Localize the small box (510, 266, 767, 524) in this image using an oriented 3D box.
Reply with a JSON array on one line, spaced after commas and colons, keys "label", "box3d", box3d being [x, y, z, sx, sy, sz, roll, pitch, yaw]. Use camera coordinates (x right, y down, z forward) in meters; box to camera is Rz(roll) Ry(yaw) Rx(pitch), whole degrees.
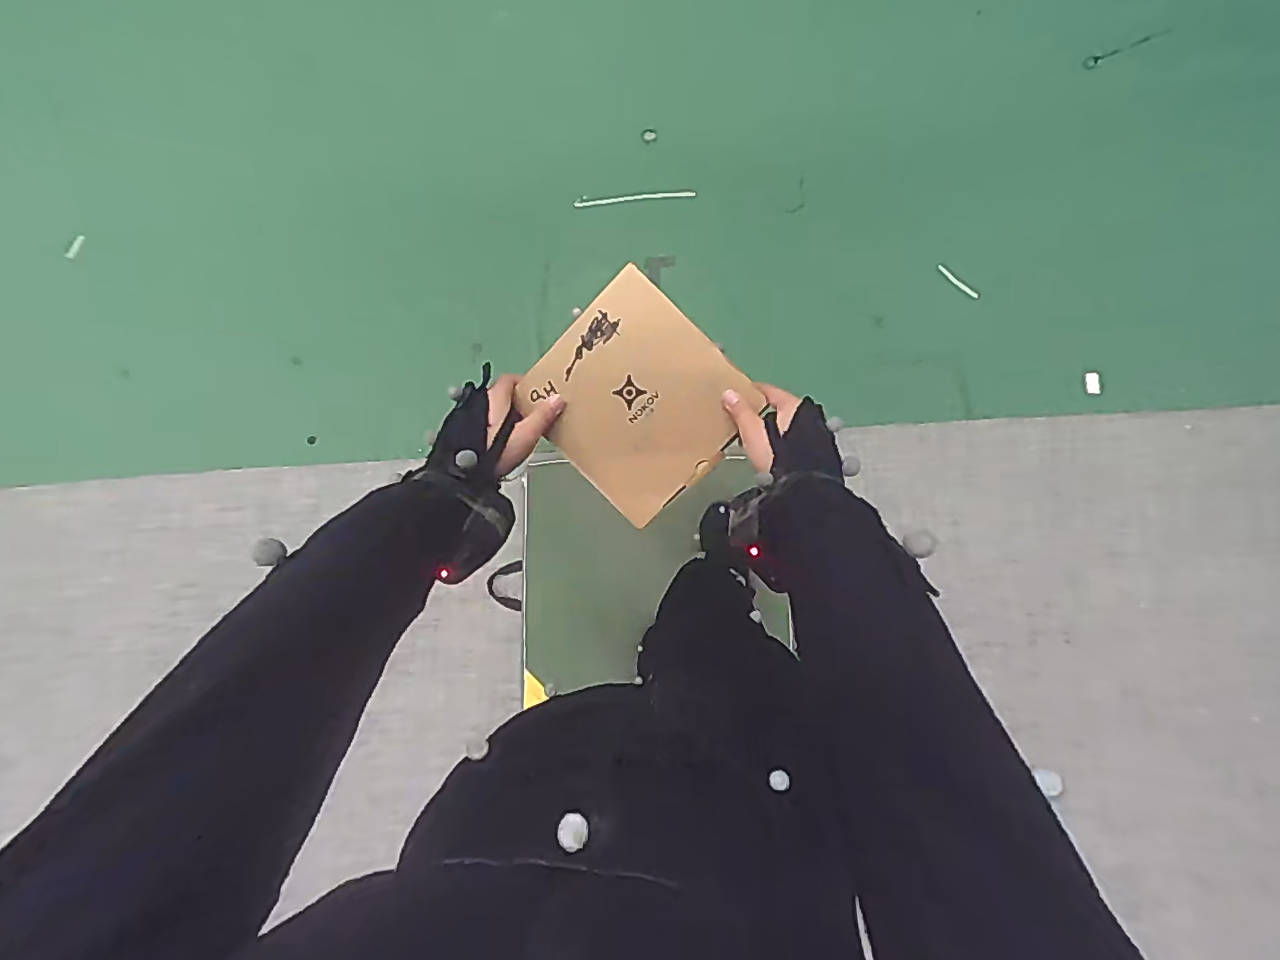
[{"label": "small box", "box3d": [0.004, -0.084, 0.564, 0.179, 0.176, 0.168, 45, 98, -2]}]
